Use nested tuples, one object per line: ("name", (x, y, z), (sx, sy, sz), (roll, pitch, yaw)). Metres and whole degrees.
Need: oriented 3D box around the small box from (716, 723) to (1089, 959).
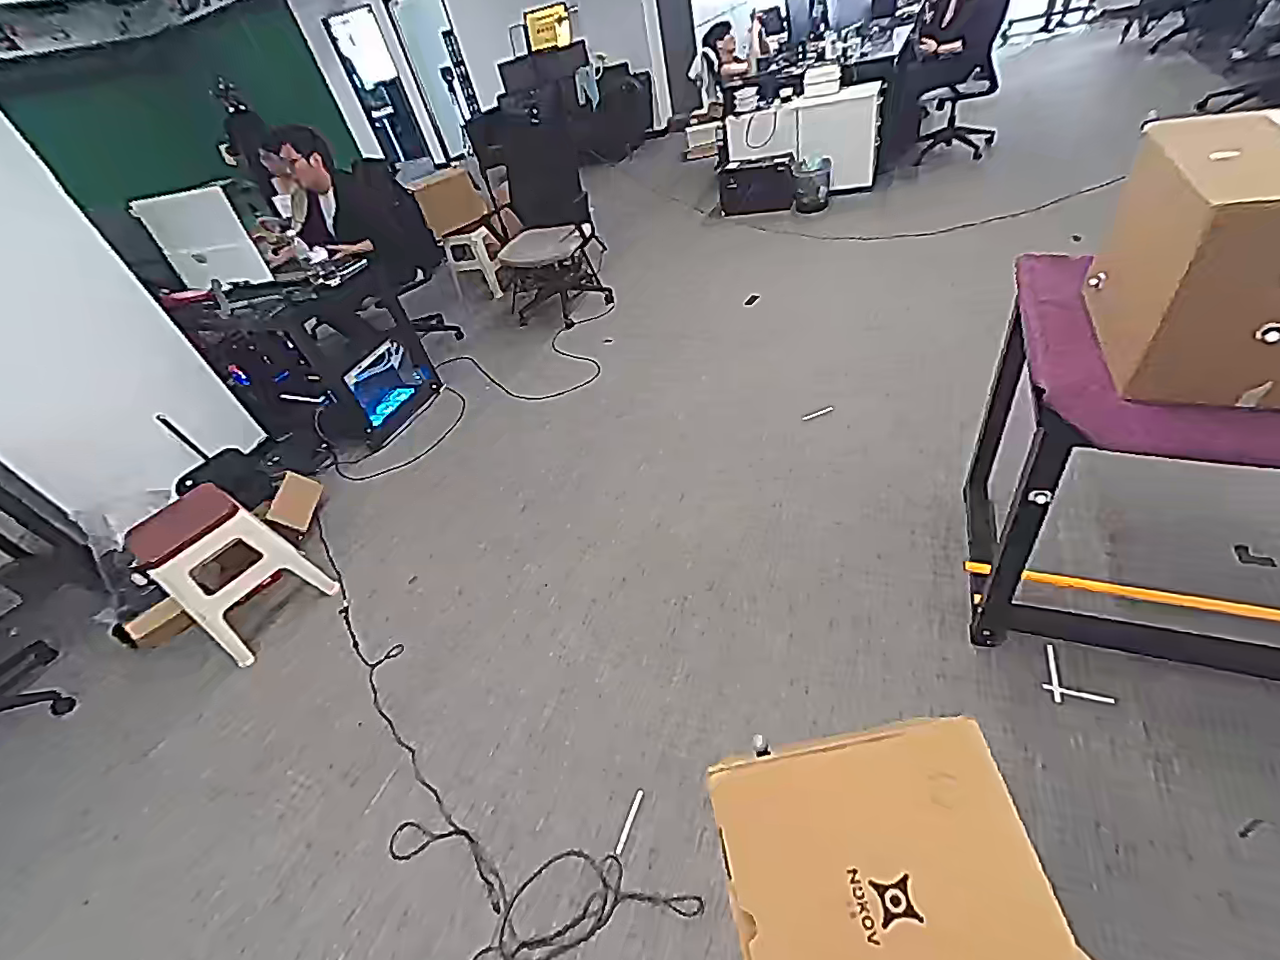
("small box", (0.163, 0.273, 0.380), (0.179, 0.176, 0.168), (-16, 62, 8))
